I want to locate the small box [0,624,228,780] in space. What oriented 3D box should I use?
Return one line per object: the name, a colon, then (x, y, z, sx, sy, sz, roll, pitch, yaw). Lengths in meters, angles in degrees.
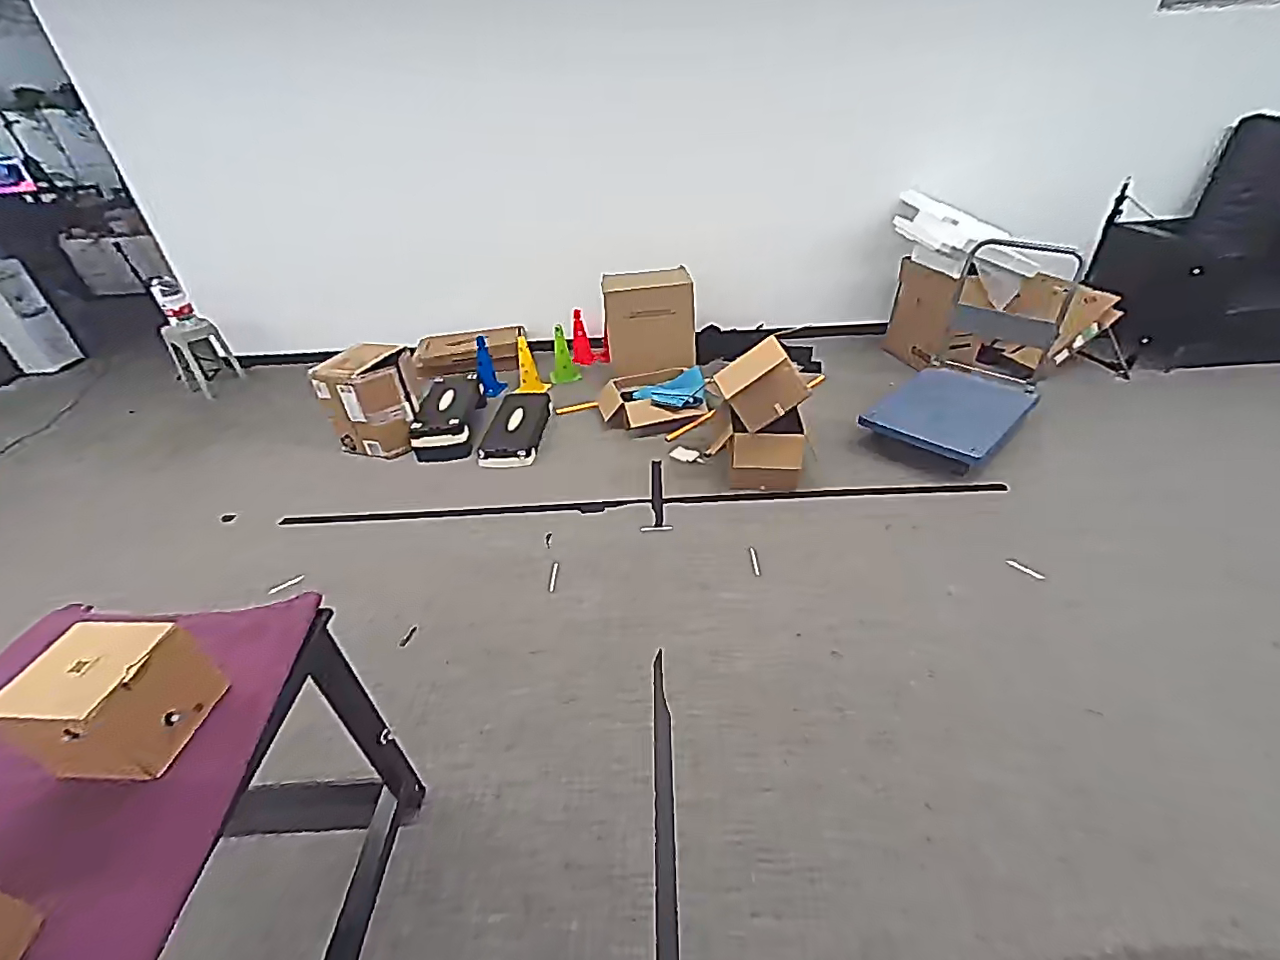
small box: (-0.809, 0.344, 0.841, 0.179, 0.176, 0.168, -2, 36, 5)
